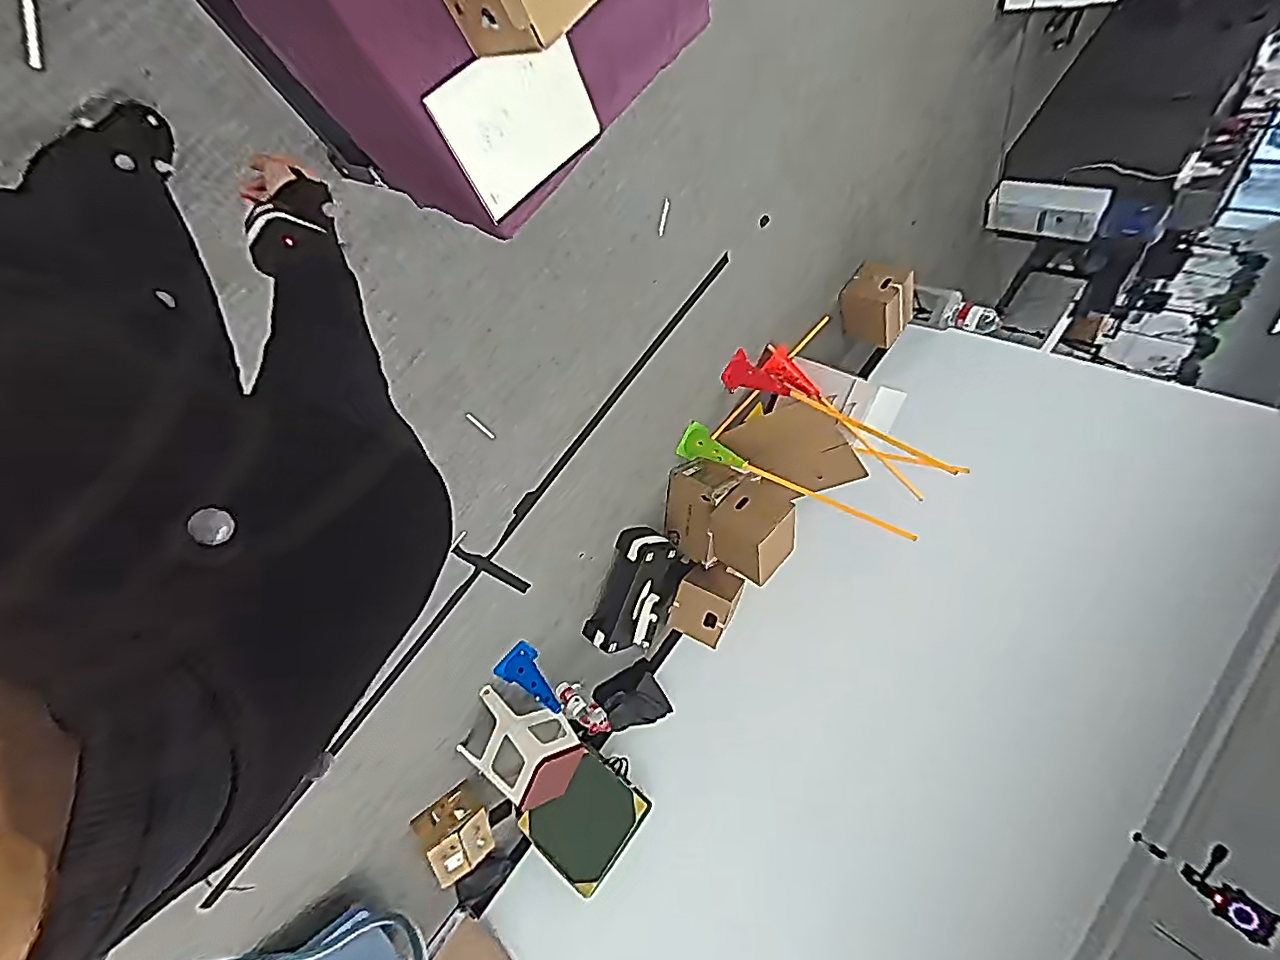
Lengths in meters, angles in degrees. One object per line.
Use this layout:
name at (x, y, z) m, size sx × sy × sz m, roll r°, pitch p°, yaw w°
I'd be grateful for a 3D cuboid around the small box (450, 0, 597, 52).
small box at (-0.157, -0.680, 0.682) m, size 0.179 × 0.176 × 0.168 m, roll -52°, pitch 144°, yaw -11°
